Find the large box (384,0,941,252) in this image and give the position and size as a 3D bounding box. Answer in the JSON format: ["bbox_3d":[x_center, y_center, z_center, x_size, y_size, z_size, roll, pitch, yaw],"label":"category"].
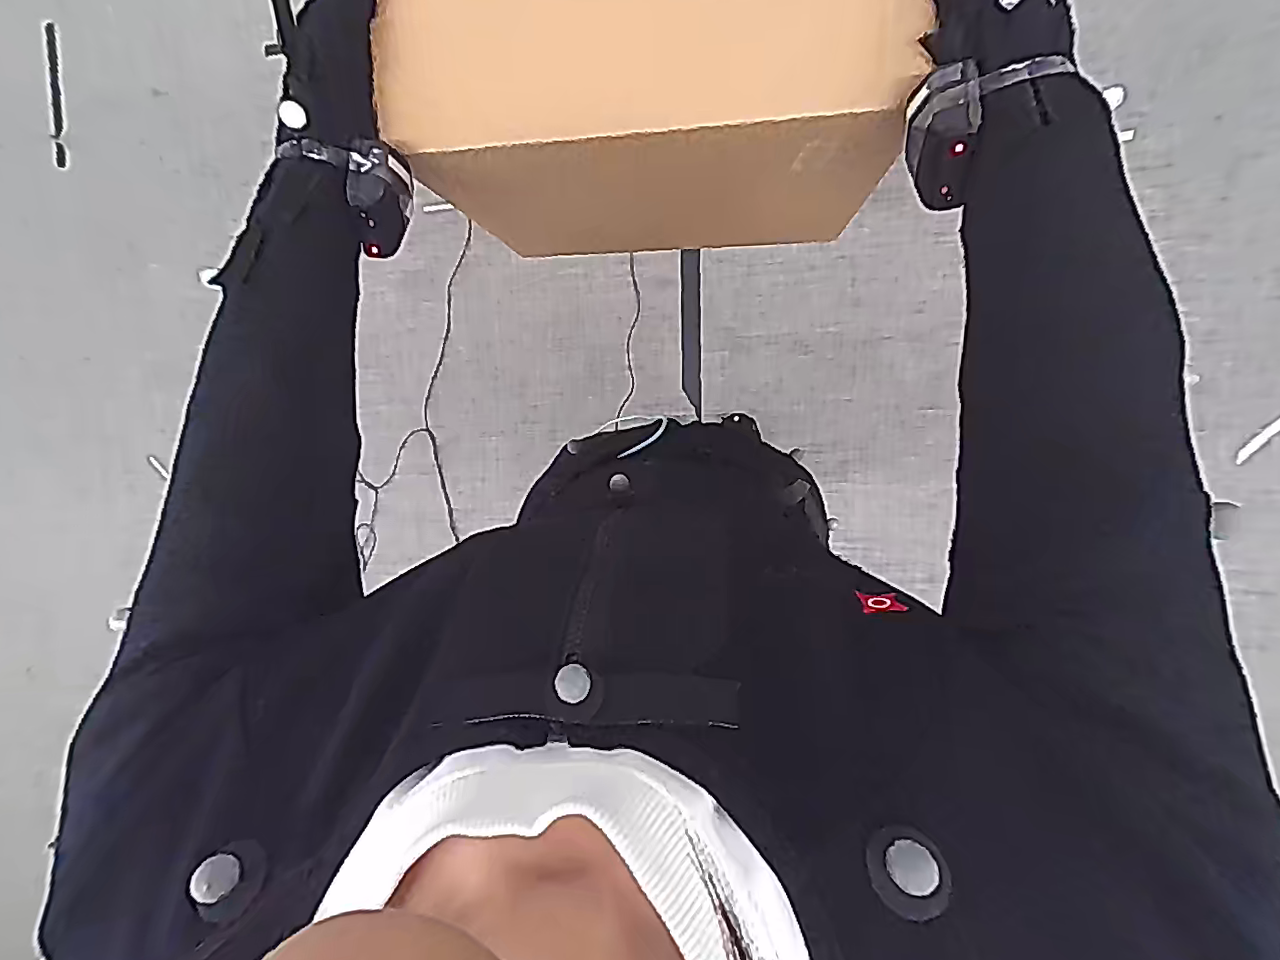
[{"bbox_3d":[0.019,-0.433,0.521,0.408,0.320,0.320,-1,99,7],"label":"large box"}]
